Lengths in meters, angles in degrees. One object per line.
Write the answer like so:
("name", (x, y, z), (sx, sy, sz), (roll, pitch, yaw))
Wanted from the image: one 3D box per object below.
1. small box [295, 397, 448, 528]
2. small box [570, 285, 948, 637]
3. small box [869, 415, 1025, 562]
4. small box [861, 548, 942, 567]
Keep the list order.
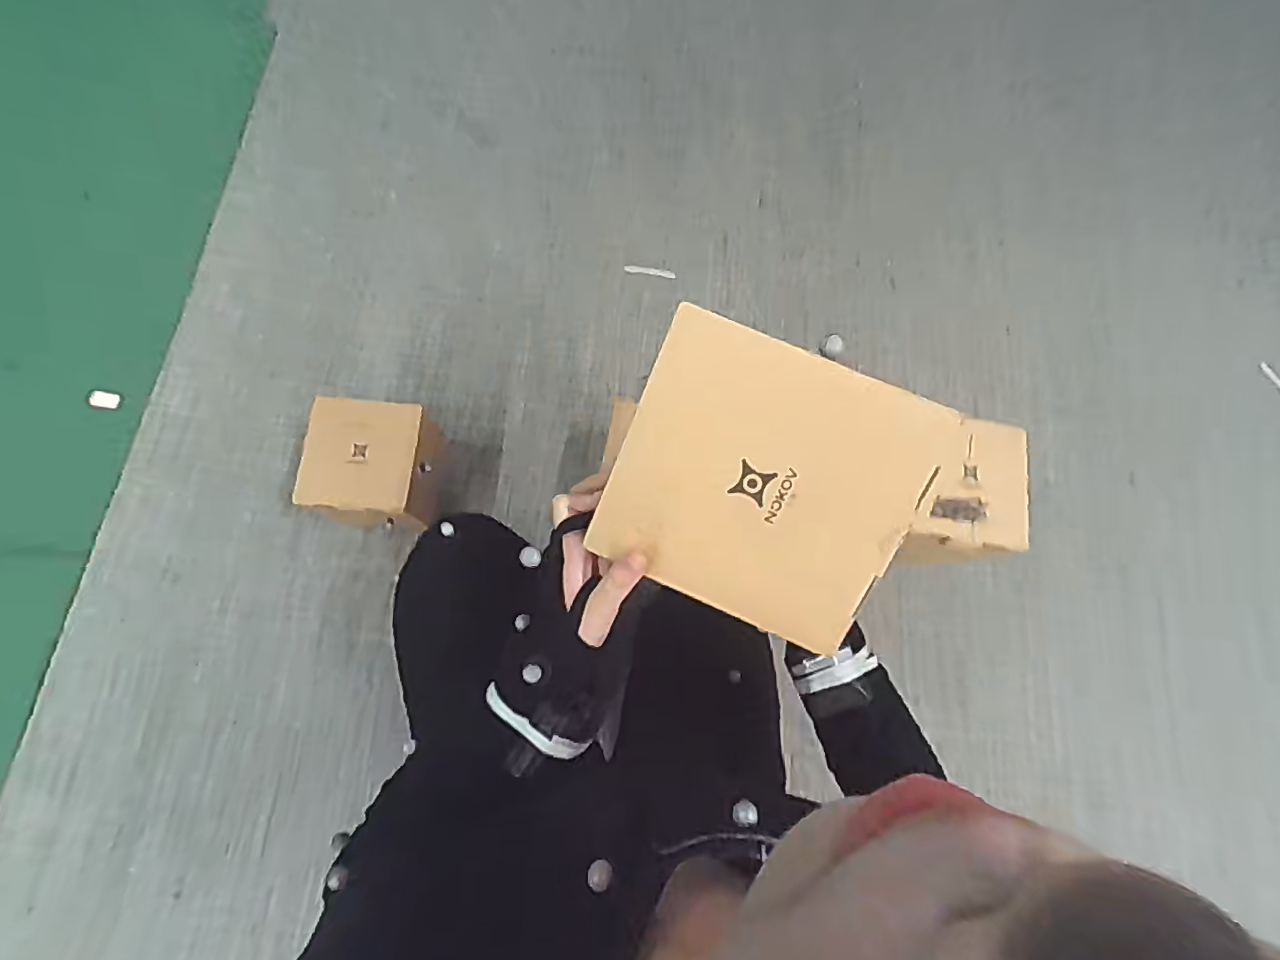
("small box", (-0.436, -0.019, 0.909), (0.168, 0.176, 0.179), (6, 75, -4))
("small box", (0.074, -0.022, 0.400), (0.179, 0.176, 0.168), (23, 104, 3))
("small box", (0.428, 0.019, 0.799), (0.168, 0.176, 0.179), (11, 74, -2))
("small box", (0.417, 0.055, 0.960), (0.168, 0.176, 0.179), (9, 76, -3))
